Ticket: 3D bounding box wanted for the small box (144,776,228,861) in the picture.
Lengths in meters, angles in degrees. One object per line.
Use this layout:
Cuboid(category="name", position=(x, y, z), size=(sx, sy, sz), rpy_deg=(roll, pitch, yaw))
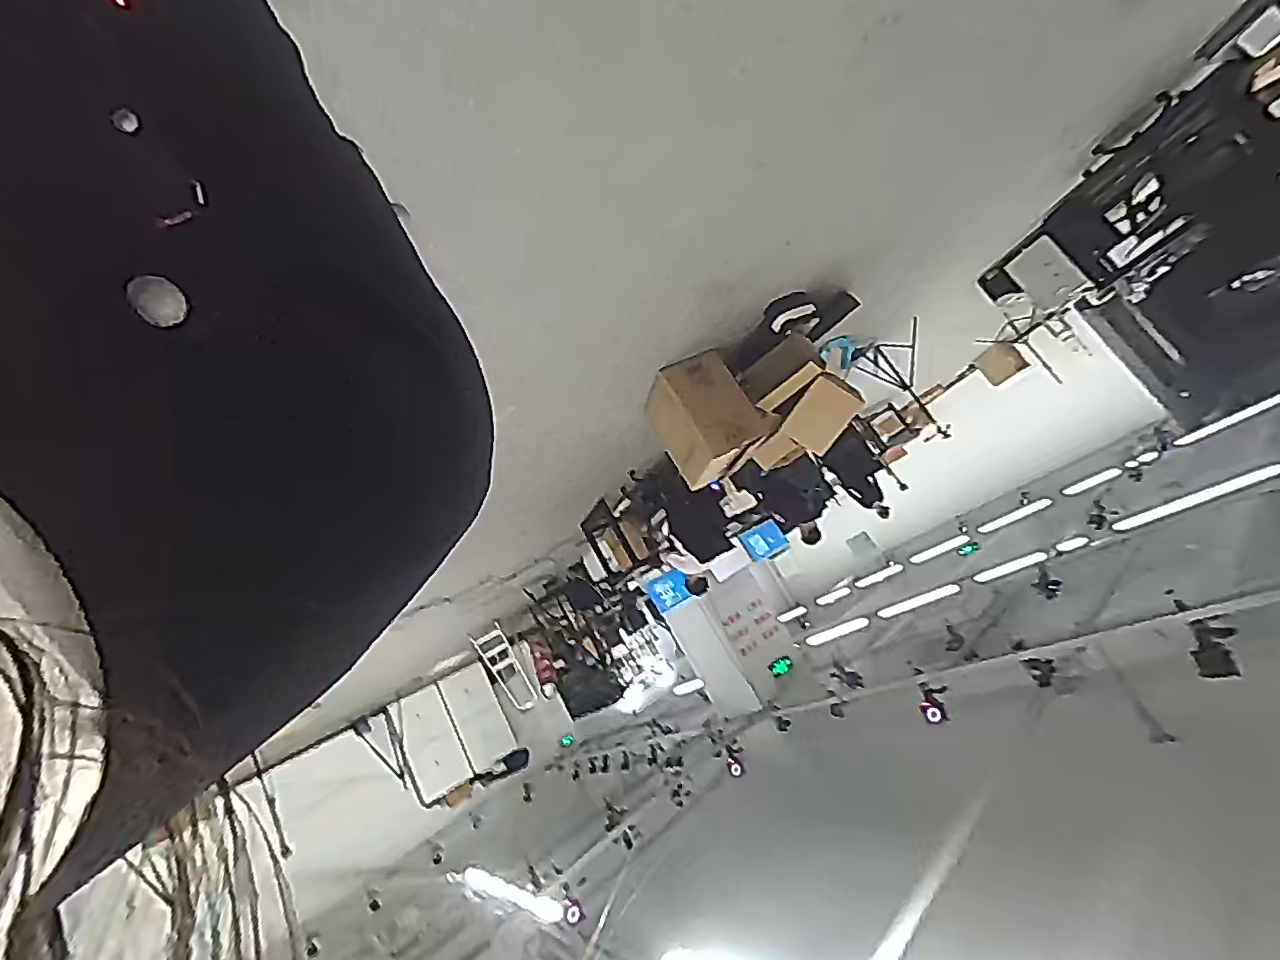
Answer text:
Cuboid(category="small box", position=(-1.483, 1.103, 1.766), size=(0.179, 0.176, 0.168), rpy_deg=(-19, 162, -38))
